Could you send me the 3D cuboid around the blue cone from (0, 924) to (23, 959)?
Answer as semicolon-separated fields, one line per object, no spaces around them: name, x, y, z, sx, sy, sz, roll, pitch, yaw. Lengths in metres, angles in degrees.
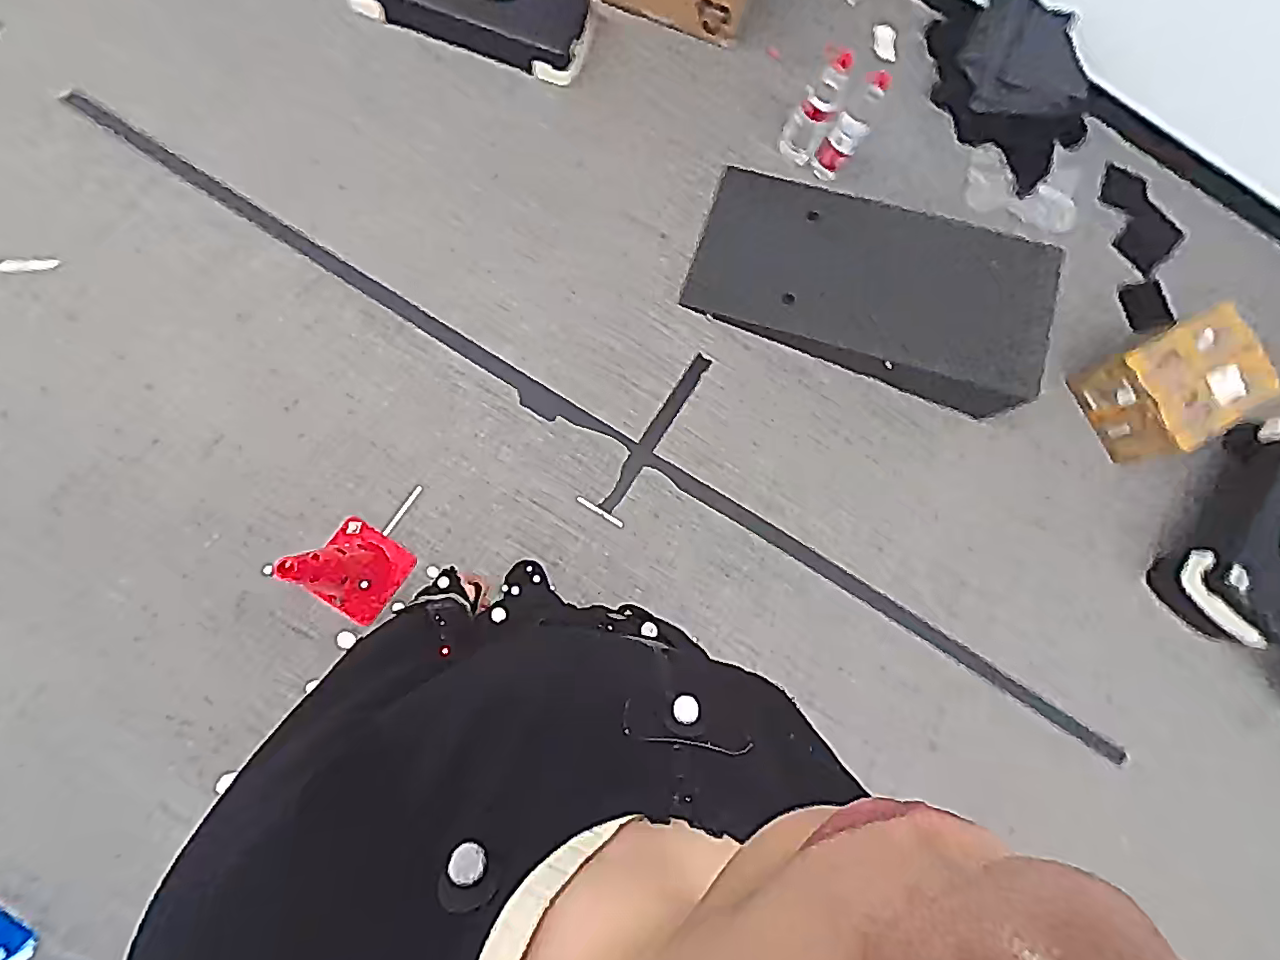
blue cone;-1.331;0.932;0.908;0.193;0.380;0.192;36;78;0
